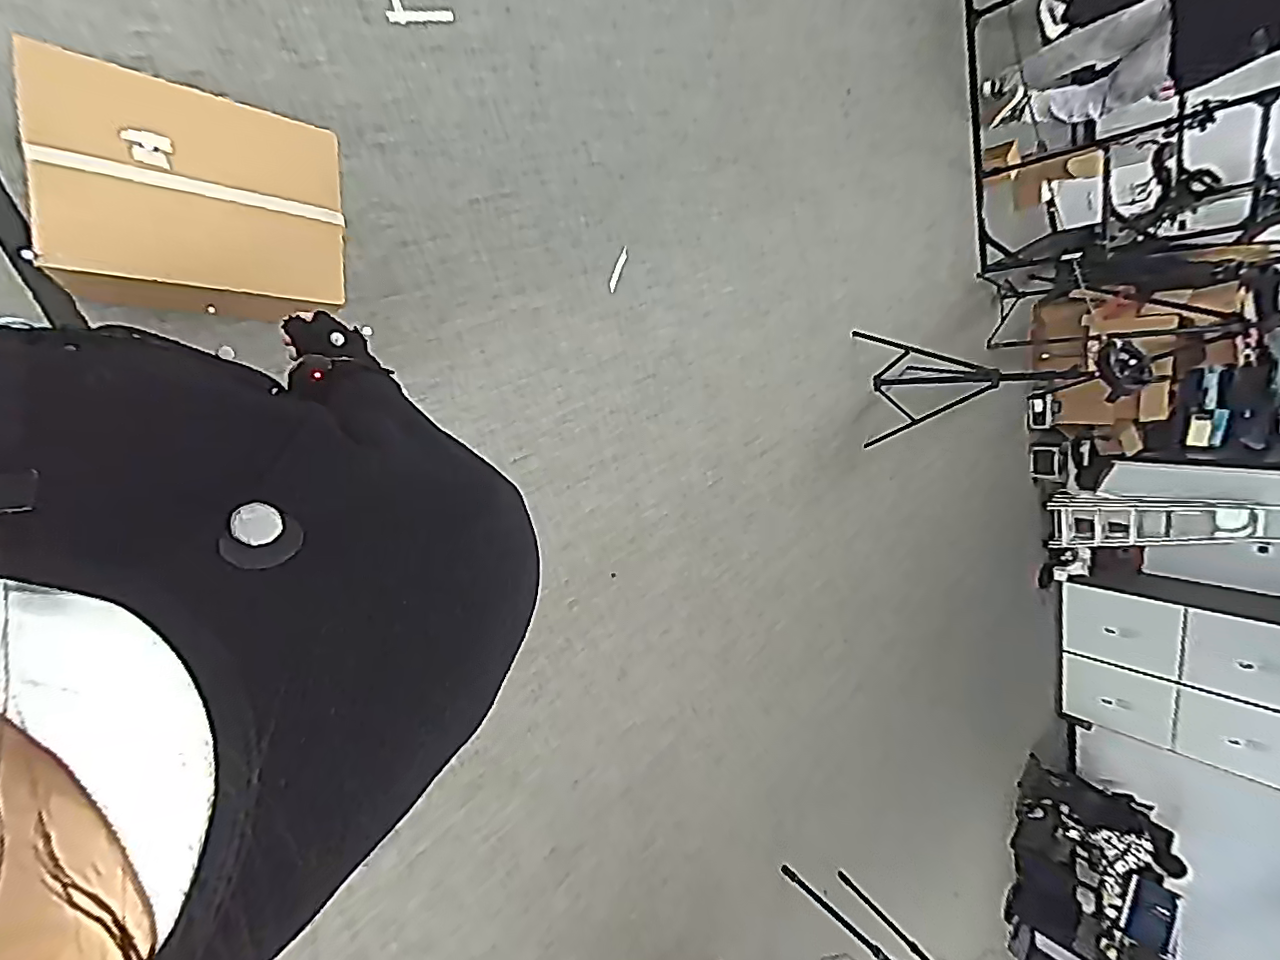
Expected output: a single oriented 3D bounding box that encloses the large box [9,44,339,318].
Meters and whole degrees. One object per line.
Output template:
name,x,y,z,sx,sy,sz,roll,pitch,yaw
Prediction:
large box,-0.825,-0.497,1.016,0.408,0.320,0.320,-5,98,-38
